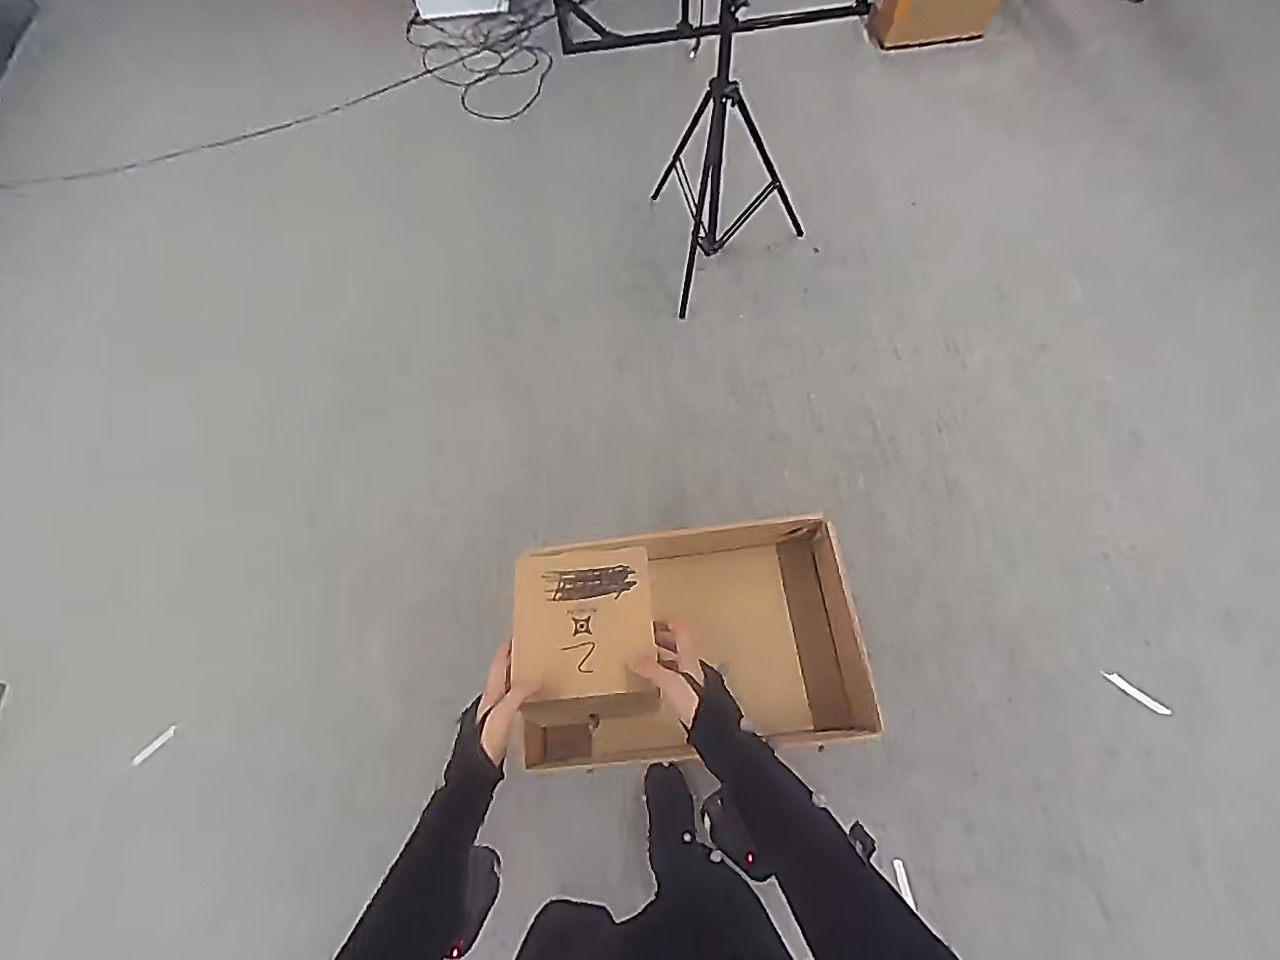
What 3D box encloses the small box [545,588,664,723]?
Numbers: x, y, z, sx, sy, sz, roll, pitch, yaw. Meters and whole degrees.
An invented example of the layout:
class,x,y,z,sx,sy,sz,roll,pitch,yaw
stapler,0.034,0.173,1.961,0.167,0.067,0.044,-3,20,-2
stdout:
class,x,y,z,sx,sy,sz,roll,pitch,yaw
small box,-0.053,0.285,0.863,0.168,0.176,0.179,-7,65,2
